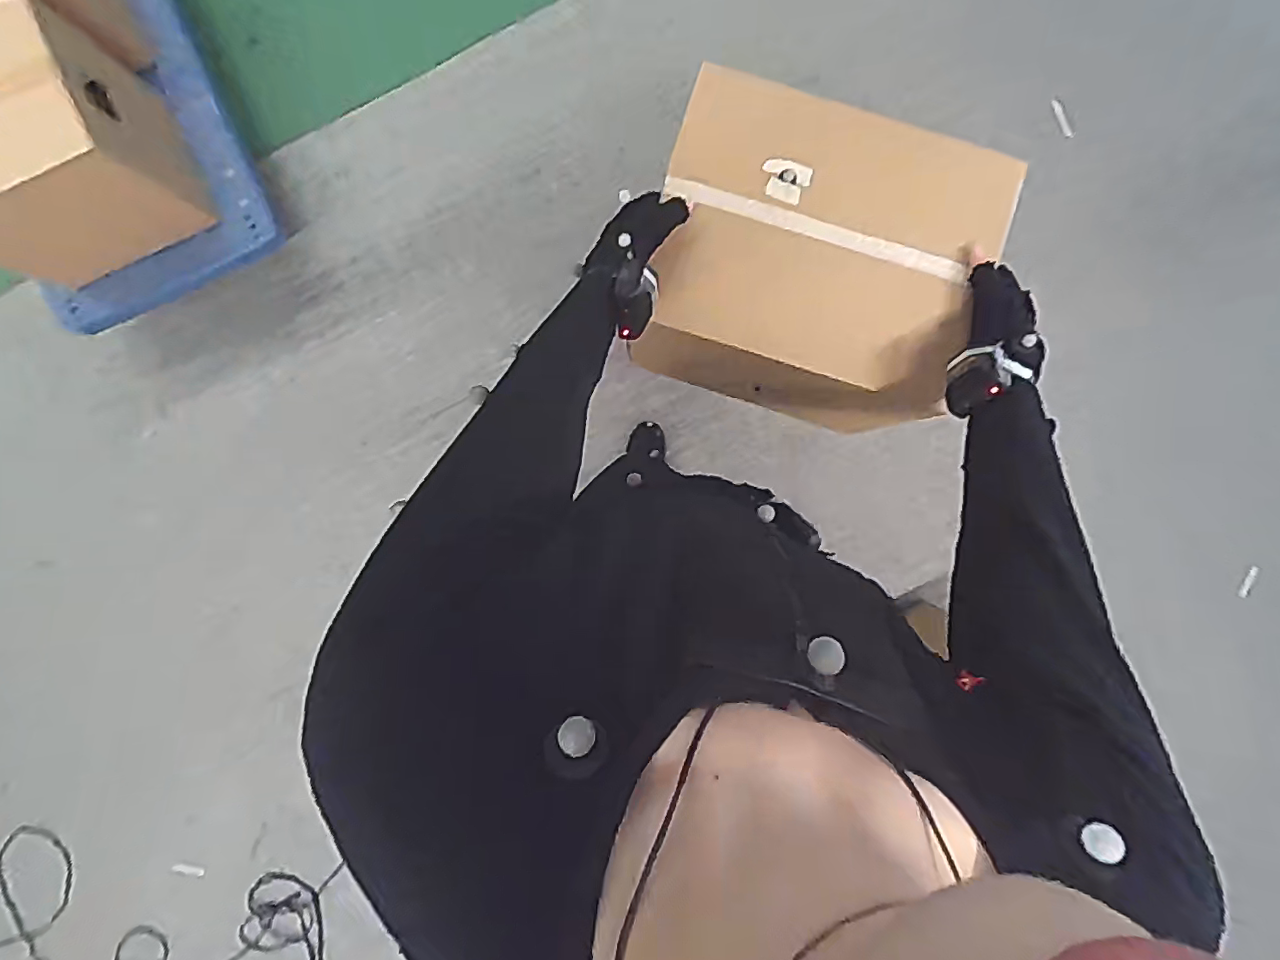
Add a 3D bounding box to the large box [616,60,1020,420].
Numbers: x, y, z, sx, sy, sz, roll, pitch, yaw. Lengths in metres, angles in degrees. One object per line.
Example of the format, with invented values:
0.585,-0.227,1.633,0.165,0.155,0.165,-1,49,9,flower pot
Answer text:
0.209,-0.291,0.772,0.408,0.320,0.320,17,91,2,large box
